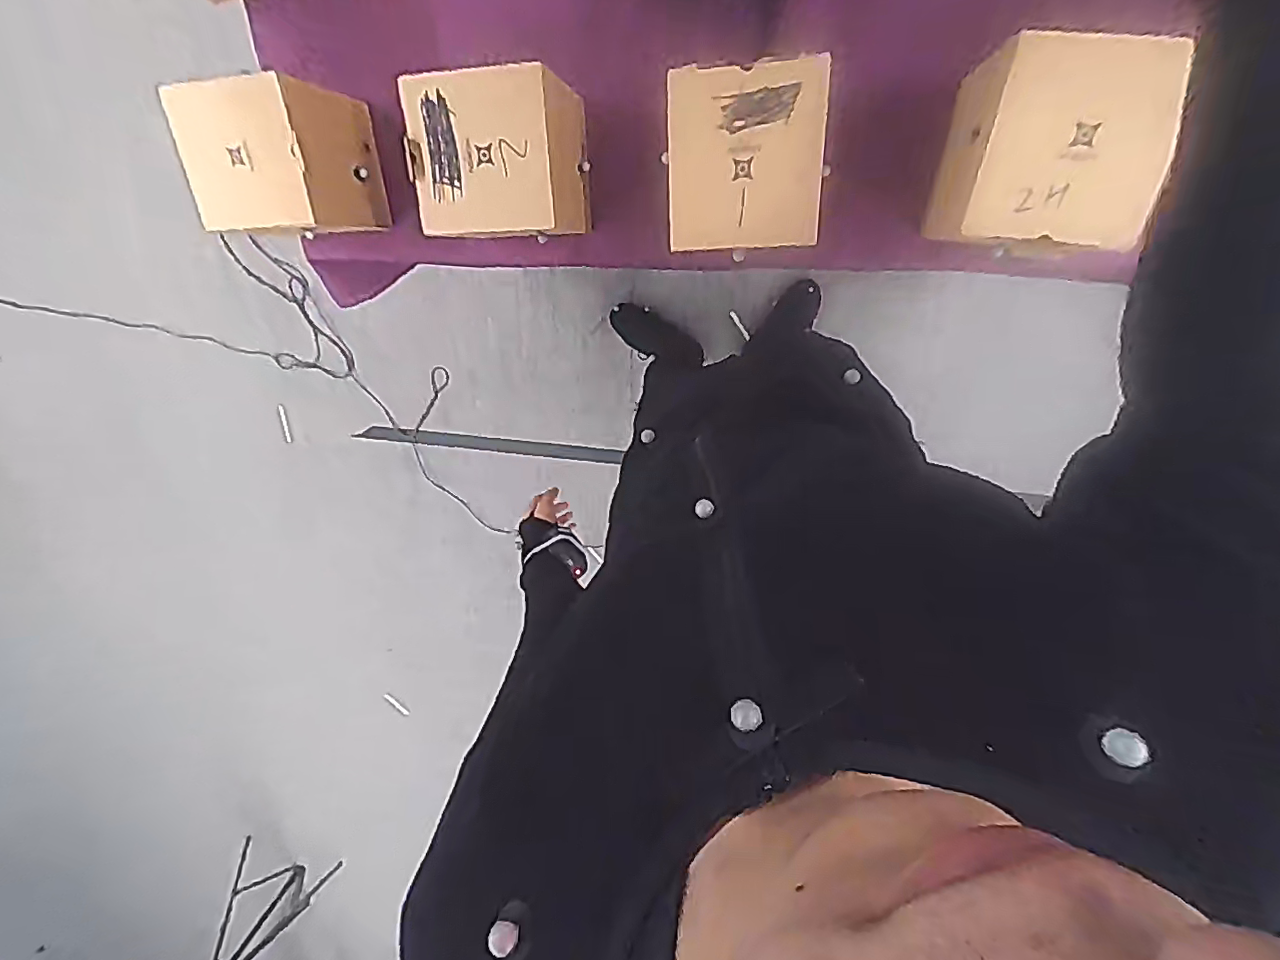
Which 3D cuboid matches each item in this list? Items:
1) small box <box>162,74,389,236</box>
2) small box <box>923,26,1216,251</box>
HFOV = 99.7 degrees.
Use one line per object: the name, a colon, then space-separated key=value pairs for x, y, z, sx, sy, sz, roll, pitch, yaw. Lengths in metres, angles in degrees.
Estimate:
small box: x=-0.490 y=-0.437 z=0.755 sx=0.179 sy=0.176 sz=0.168 roll=1 pitch=113 yaw=10
small box: x=0.434 y=-0.353 z=0.589 sx=0.168 sy=0.176 sz=0.179 roll=10 pitch=115 yaw=9
